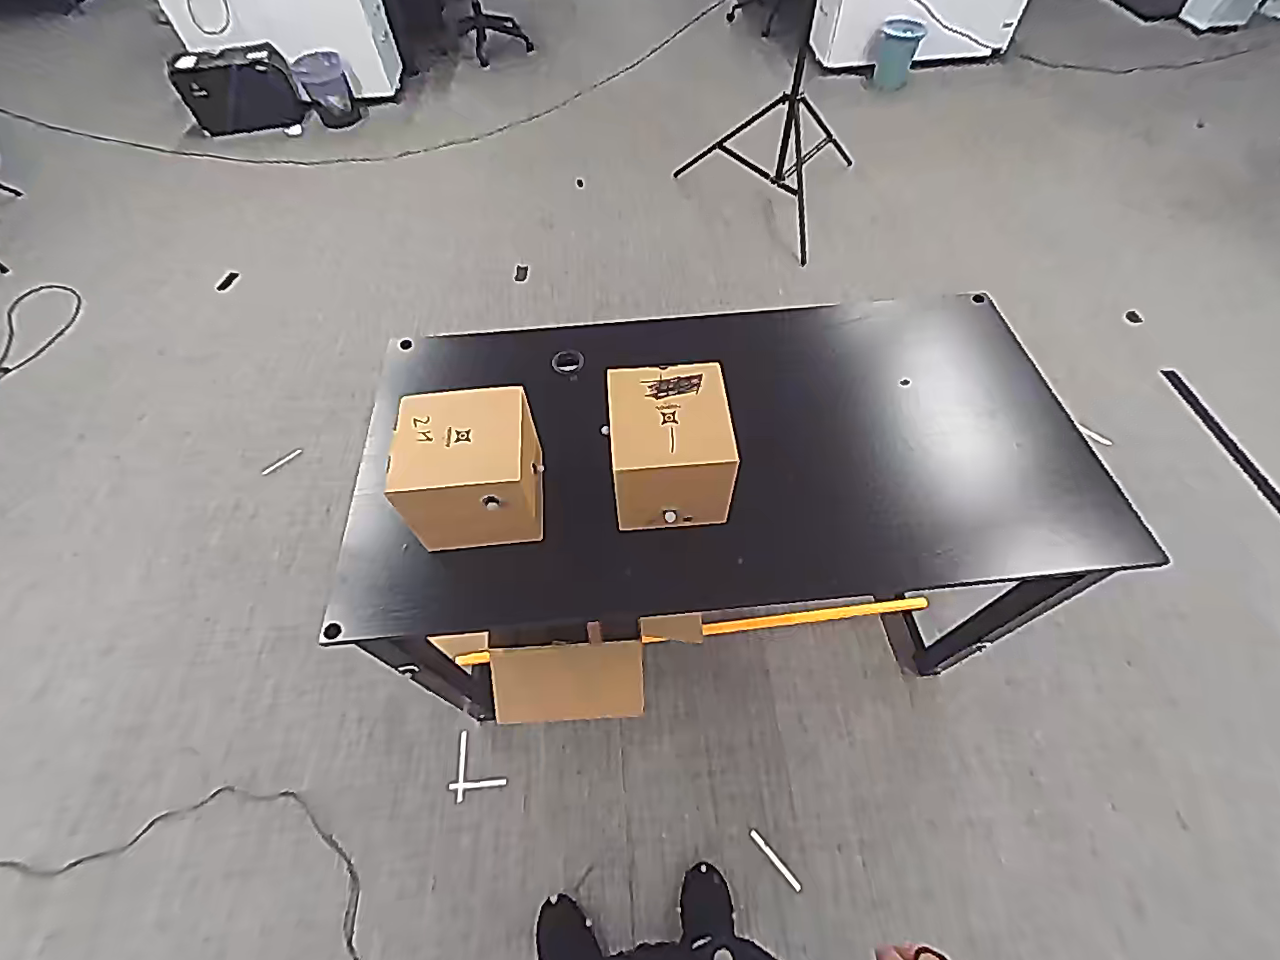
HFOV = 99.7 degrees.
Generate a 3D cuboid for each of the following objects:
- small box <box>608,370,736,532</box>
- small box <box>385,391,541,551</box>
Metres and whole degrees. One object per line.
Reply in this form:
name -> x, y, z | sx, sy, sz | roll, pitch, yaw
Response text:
small box -> 0.040, -0.041, 0.812 | 0.168, 0.176, 0.179 | -4, 57, -1
small box -> -0.243, -0.009, 0.797 | 0.179, 0.176, 0.168 | -6, 56, -2
